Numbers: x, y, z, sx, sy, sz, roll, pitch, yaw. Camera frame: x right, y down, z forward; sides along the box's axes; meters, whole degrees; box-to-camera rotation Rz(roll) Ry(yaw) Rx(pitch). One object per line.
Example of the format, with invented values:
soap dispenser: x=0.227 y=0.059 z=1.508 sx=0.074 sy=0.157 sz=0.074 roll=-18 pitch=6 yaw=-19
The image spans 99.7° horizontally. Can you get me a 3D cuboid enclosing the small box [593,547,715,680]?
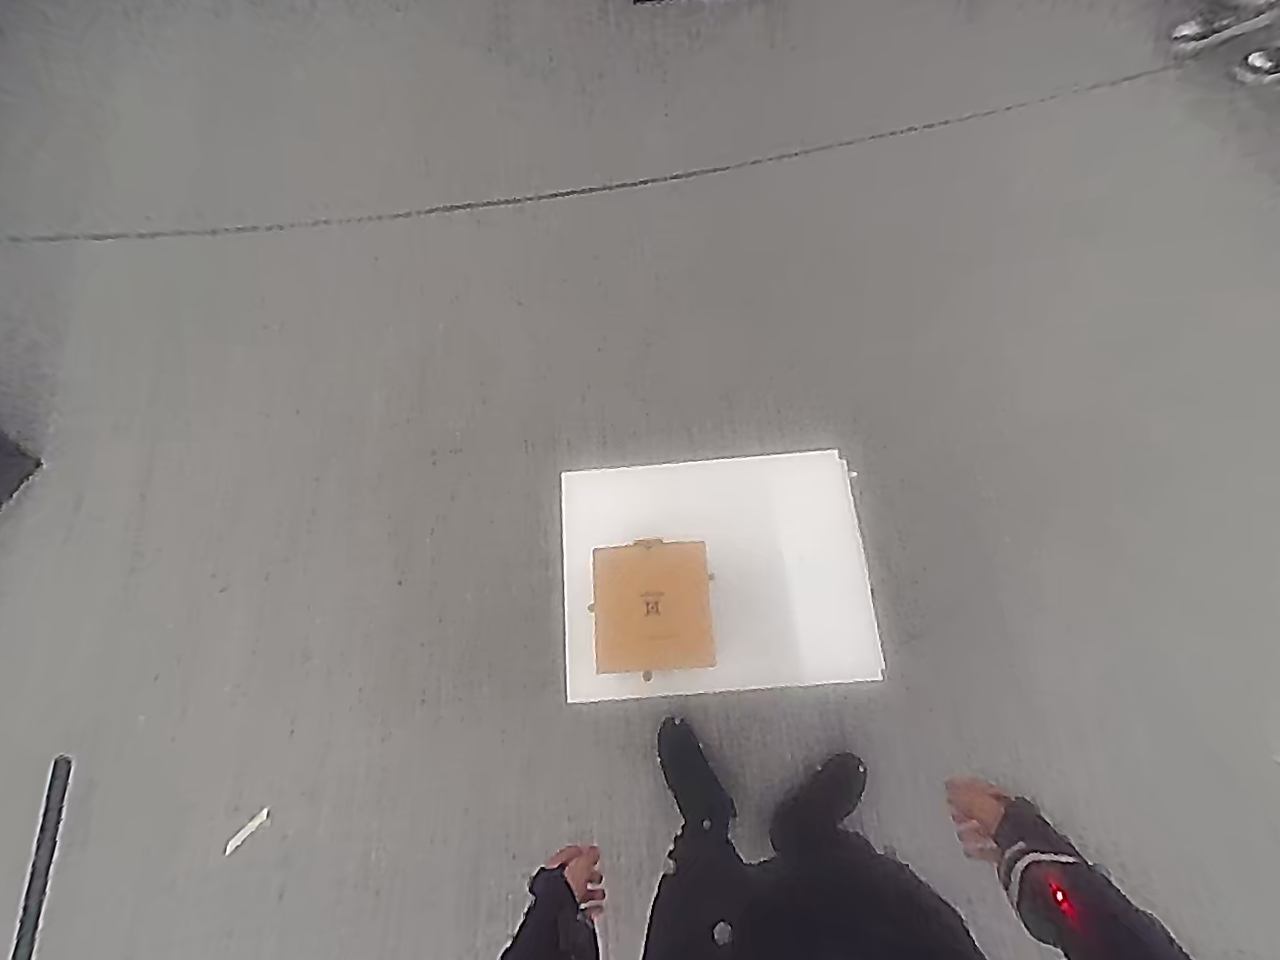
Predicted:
small box: x=0.019 y=0.209 z=0.826 sx=0.168 sy=0.176 sz=0.179 roll=-4 pitch=71 yaw=2
